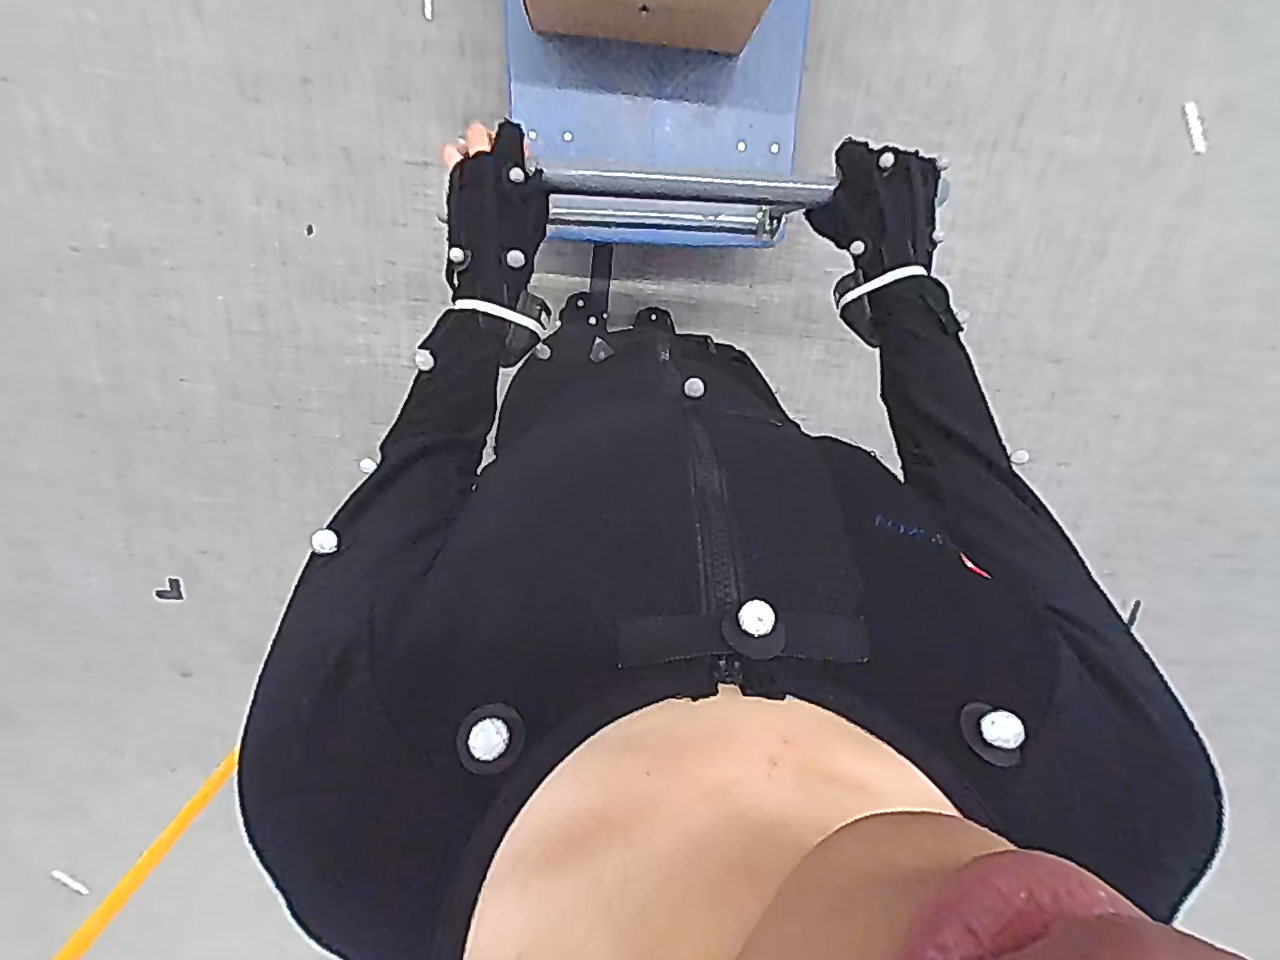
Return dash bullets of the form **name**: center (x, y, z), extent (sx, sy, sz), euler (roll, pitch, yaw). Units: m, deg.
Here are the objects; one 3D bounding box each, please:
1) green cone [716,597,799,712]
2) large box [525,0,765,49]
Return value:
- **green cone**: center (0.363, 0.516, 1.534), extent (0.202, 0.368, 0.200), euler (8, 108, -8)
- **large box**: center (0.012, -0.939, 0.858), extent (0.408, 0.320, 0.320), euler (2, 109, -4)
